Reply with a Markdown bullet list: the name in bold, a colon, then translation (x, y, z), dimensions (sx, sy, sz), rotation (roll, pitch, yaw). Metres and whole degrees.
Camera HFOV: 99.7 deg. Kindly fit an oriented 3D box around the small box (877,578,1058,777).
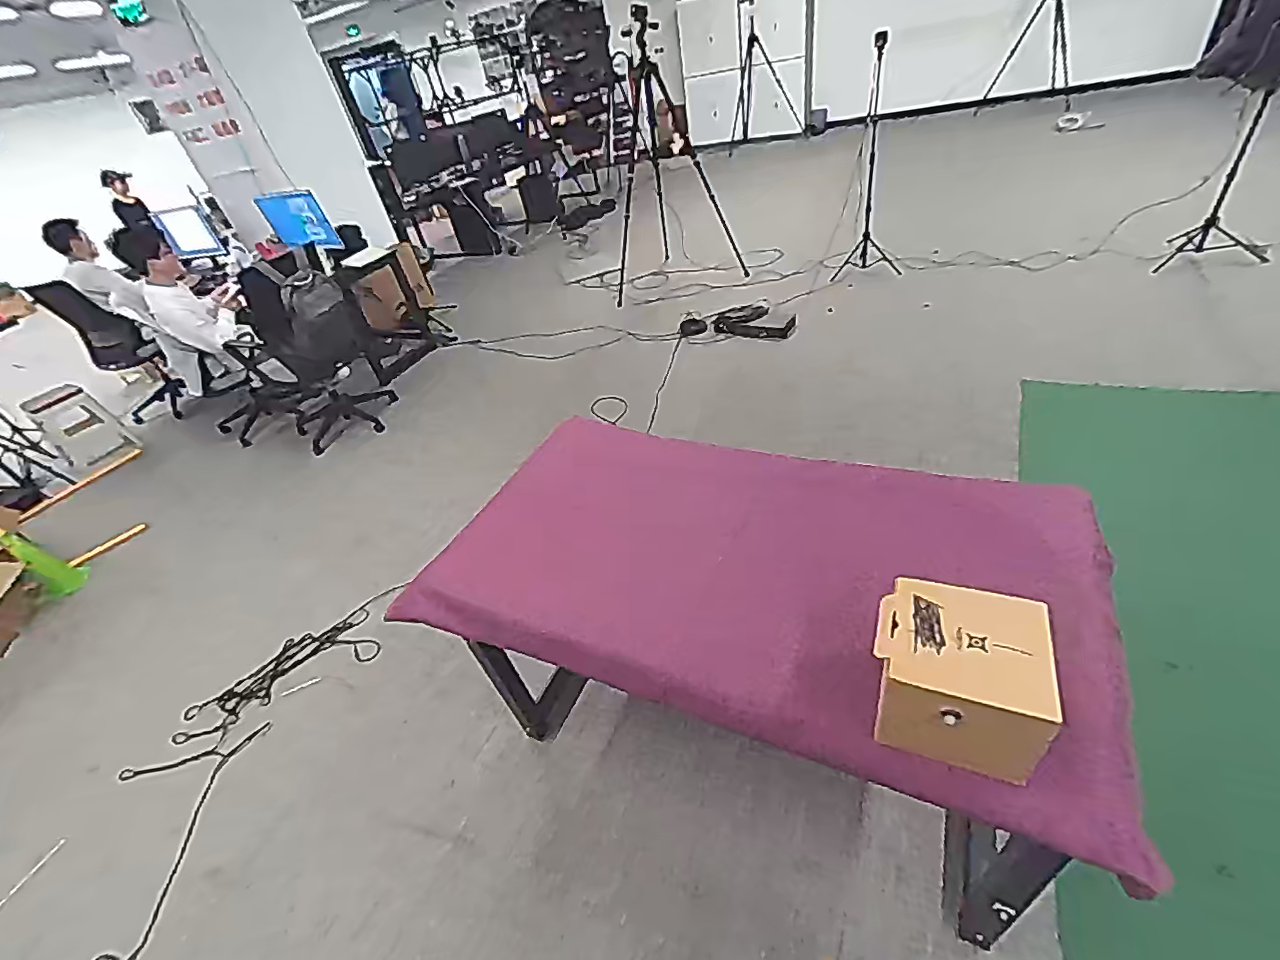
- **small box**: translation (0.421, 0.260, 0.719), dimensions (0.179, 0.176, 0.168), rotation (8, 44, 25)
